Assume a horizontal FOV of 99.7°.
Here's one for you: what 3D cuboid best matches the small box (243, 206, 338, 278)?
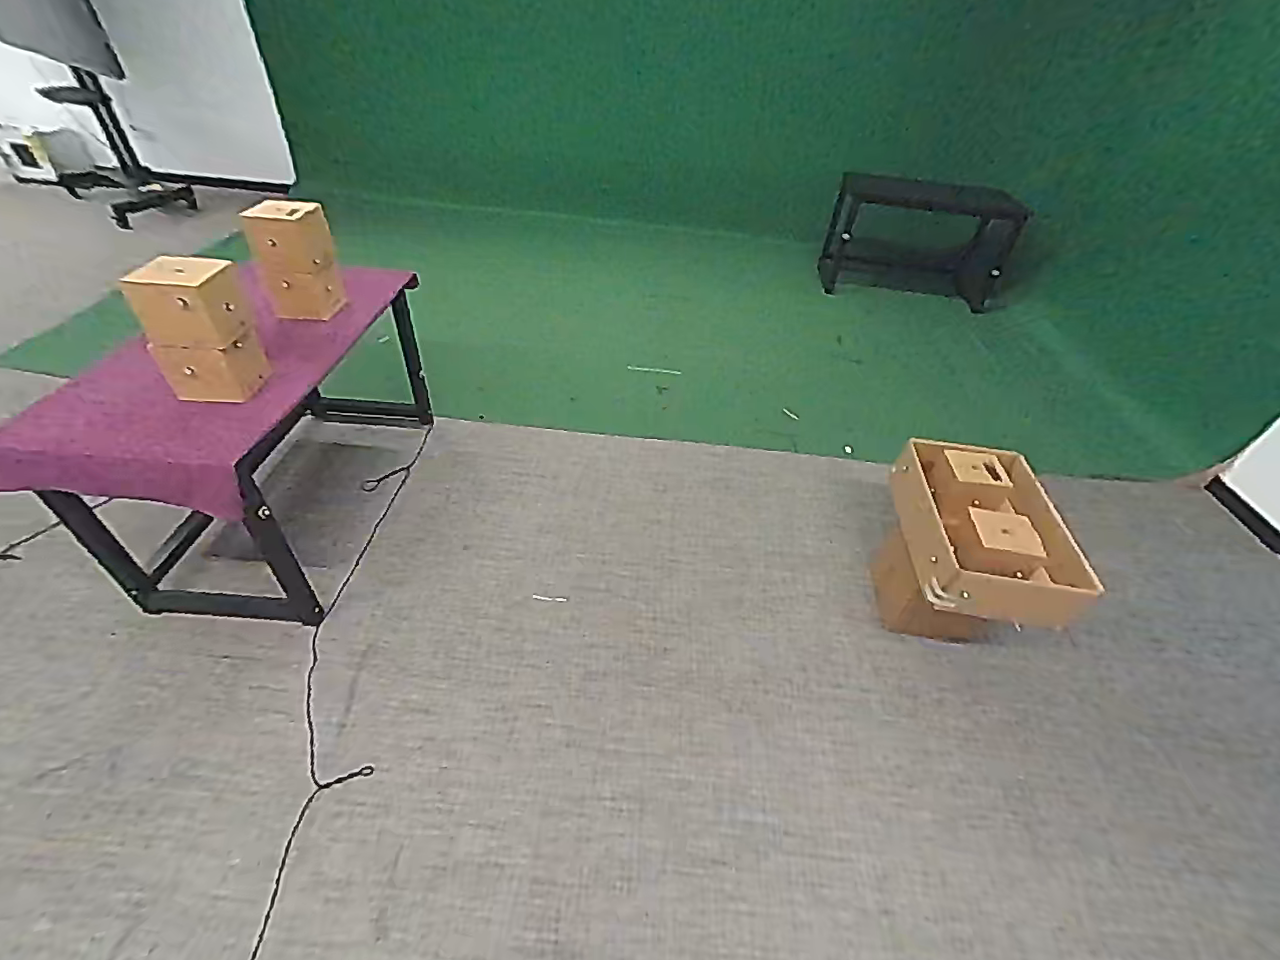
[{"bbox_3d":[-1.123,-0.771,1.756,0.179,0.176,0.168,4,42,2],"label":"small box"}]

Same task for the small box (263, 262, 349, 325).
[{"bbox_3d":[-1.142,-0.650,1.867,0.179,0.176,0.168,3,43,-1],"label":"small box"}]

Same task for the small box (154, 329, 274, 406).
[{"bbox_3d":[-1.167,-0.318,1.497,0.179,0.176,0.168,1,43,-5],"label":"small box"}]

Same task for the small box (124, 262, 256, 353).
[{"bbox_3d":[-1.136,-0.441,1.388,0.179,0.176,0.168,2,41,-4],"label":"small box"}]
